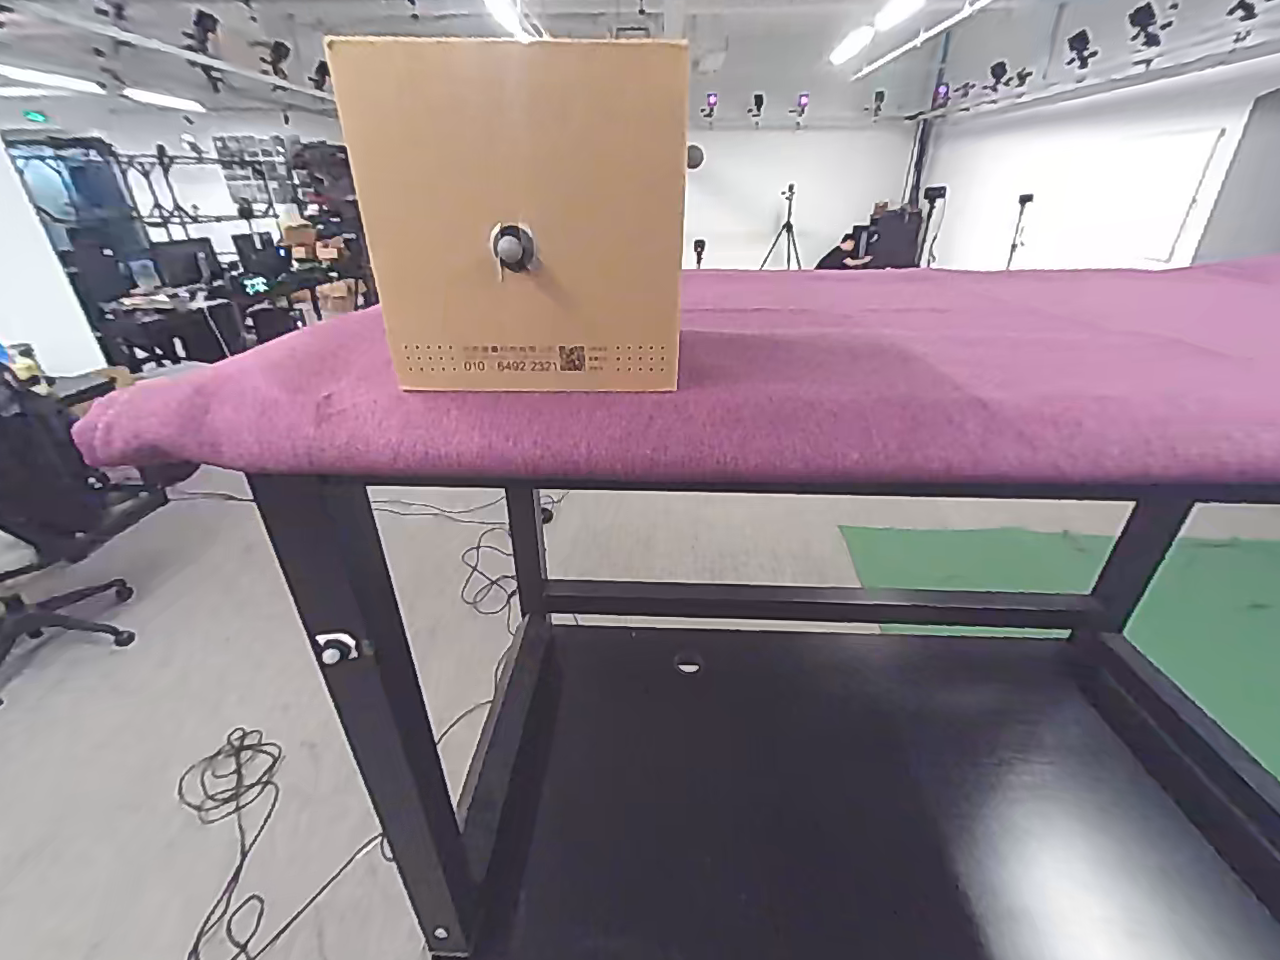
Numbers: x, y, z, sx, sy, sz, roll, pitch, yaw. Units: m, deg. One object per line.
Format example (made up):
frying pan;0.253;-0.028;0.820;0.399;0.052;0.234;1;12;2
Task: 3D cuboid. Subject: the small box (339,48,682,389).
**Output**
small box;-0.060;-0.165;0.361;0.168;0.176;0.179;1;28;-1
